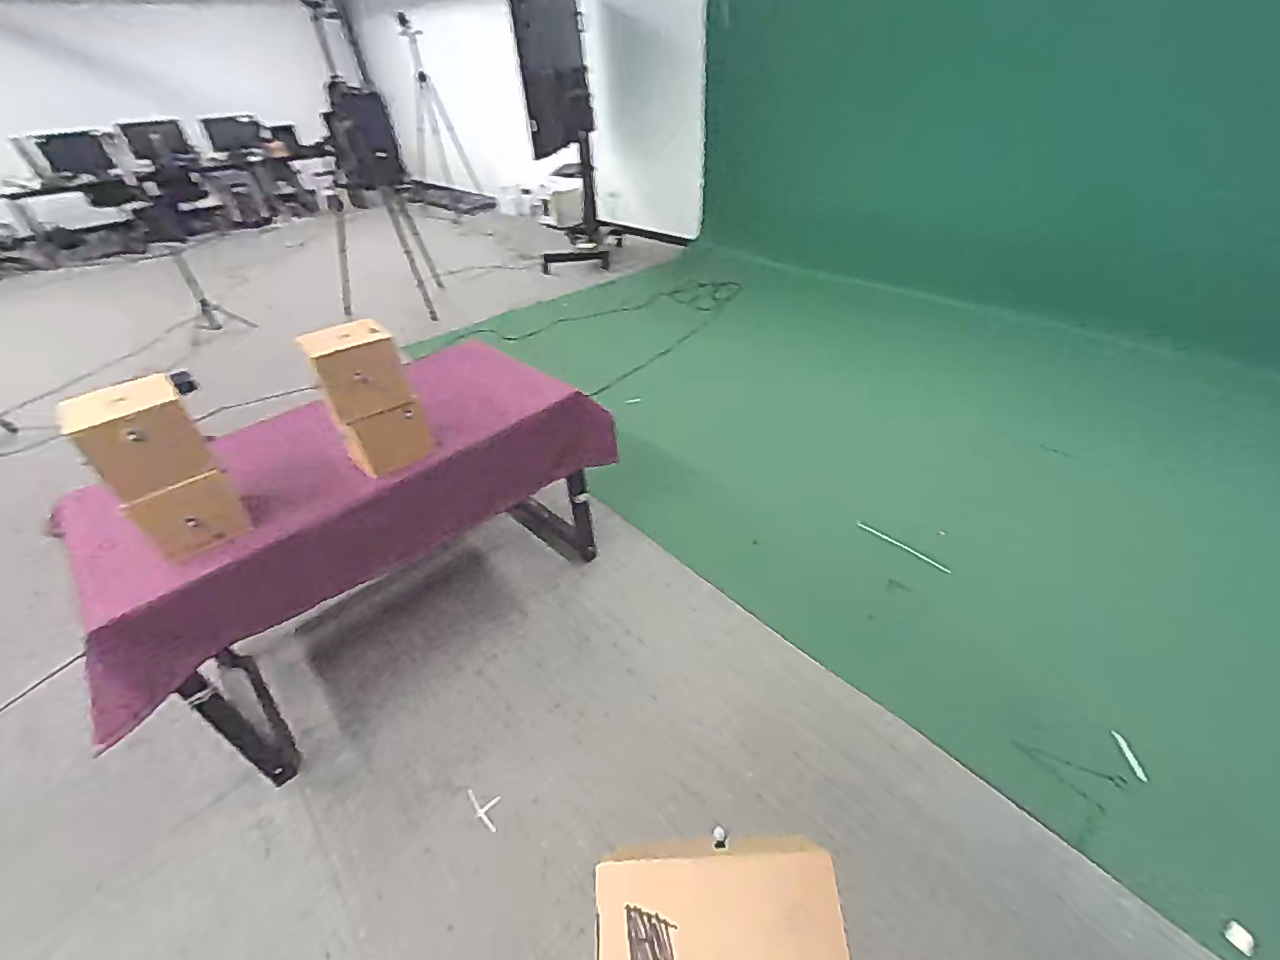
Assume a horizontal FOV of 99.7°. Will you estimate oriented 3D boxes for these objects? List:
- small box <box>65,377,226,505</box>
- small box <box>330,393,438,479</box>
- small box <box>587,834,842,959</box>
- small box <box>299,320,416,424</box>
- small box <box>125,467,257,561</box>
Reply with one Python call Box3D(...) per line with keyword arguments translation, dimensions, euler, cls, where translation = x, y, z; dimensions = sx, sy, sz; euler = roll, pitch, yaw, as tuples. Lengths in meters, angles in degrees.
Box3D(translation=(-0.986, -0.079, 1.086), dimensions=(0.179, 0.176, 0.168), euler=(-32, 47, -31), cls="small box")
Box3D(translation=(-0.650, -0.130, 1.386), dimensions=(0.179, 0.176, 0.168), euler=(-32, 45, -31), cls="small box")
Box3D(translation=(0.060, 0.386, 0.427), dimensions=(0.179, 0.176, 0.168), euler=(-6, 60, 4), cls="small box")
Box3D(translation=(-0.663, -0.255, 1.279), dimensions=(0.179, 0.176, 0.168), euler=(-29, 44, -27), cls="small box")
Box3D(translation=(-0.979, 0.052, 1.183), dimensions=(0.168, 0.176, 0.179), euler=(-31, 45, -30), cls="small box")
